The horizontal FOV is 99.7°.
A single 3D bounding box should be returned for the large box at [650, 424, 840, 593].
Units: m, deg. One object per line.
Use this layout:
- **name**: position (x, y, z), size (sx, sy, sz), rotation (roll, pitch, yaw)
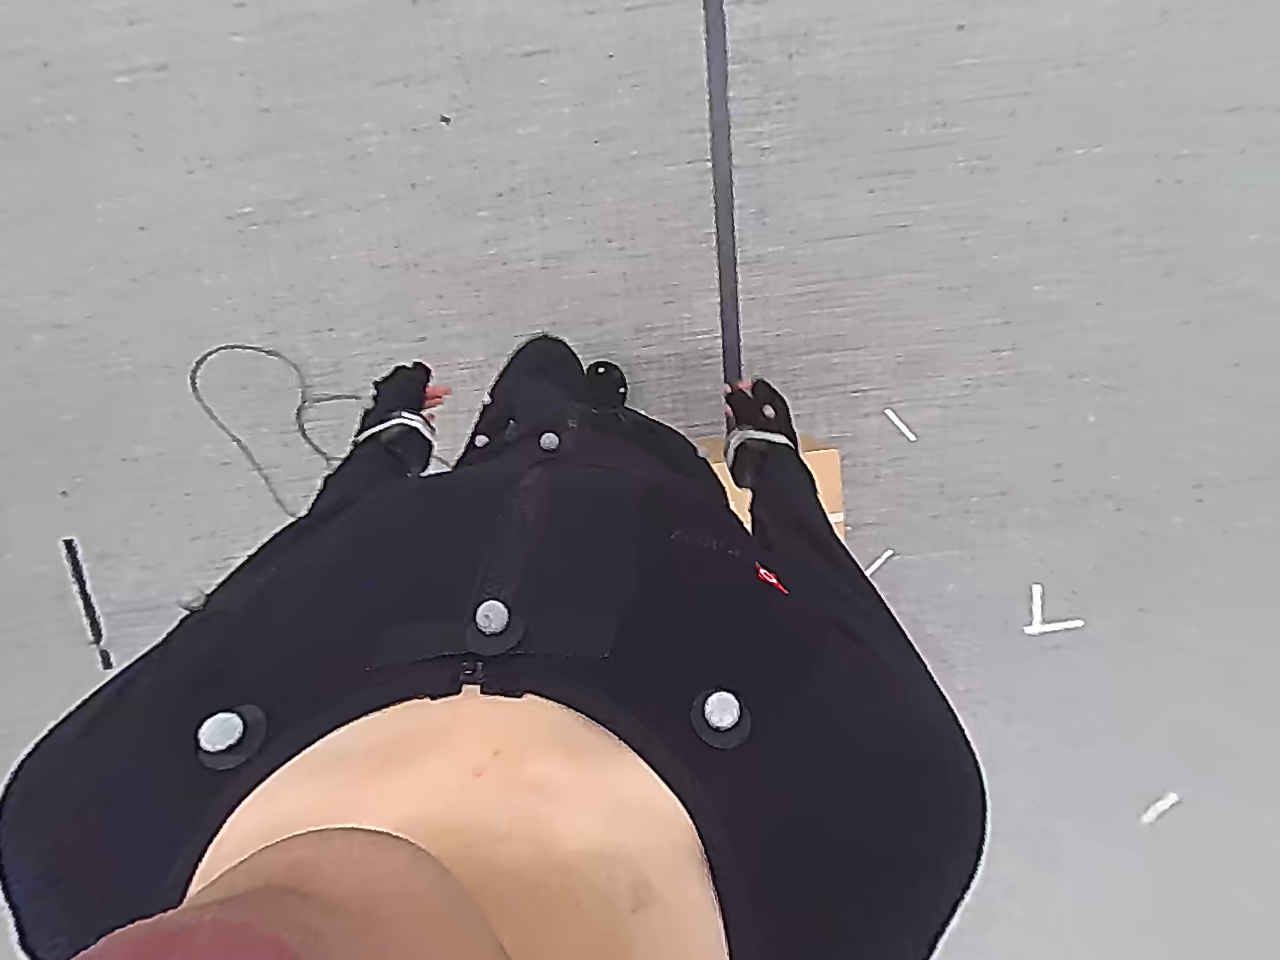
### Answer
- **large box**: position (0.246, 0.055, 1.360), size (0.408, 0.320, 0.320), rotation (-7, 103, 1)
